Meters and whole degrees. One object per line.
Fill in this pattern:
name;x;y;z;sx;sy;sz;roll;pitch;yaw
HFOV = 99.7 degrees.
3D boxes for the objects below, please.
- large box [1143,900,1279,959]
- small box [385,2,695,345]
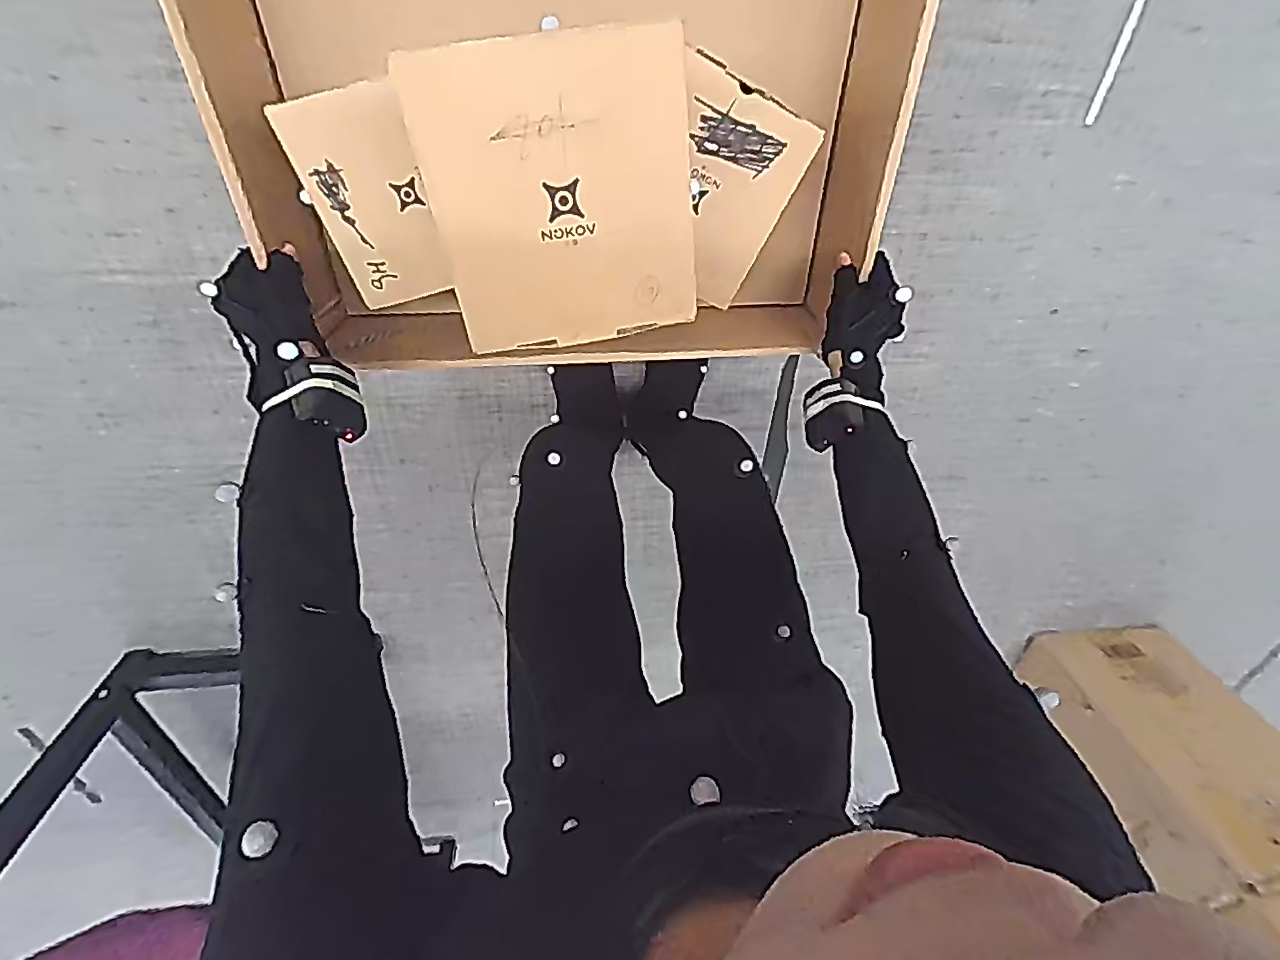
large box;1.379;1.094;1.093;0.320;0.320;0.408;0;126;-5
small box;-0.059;-0.223;0.405;0.168;0.176;0.179;-10;125;-3
